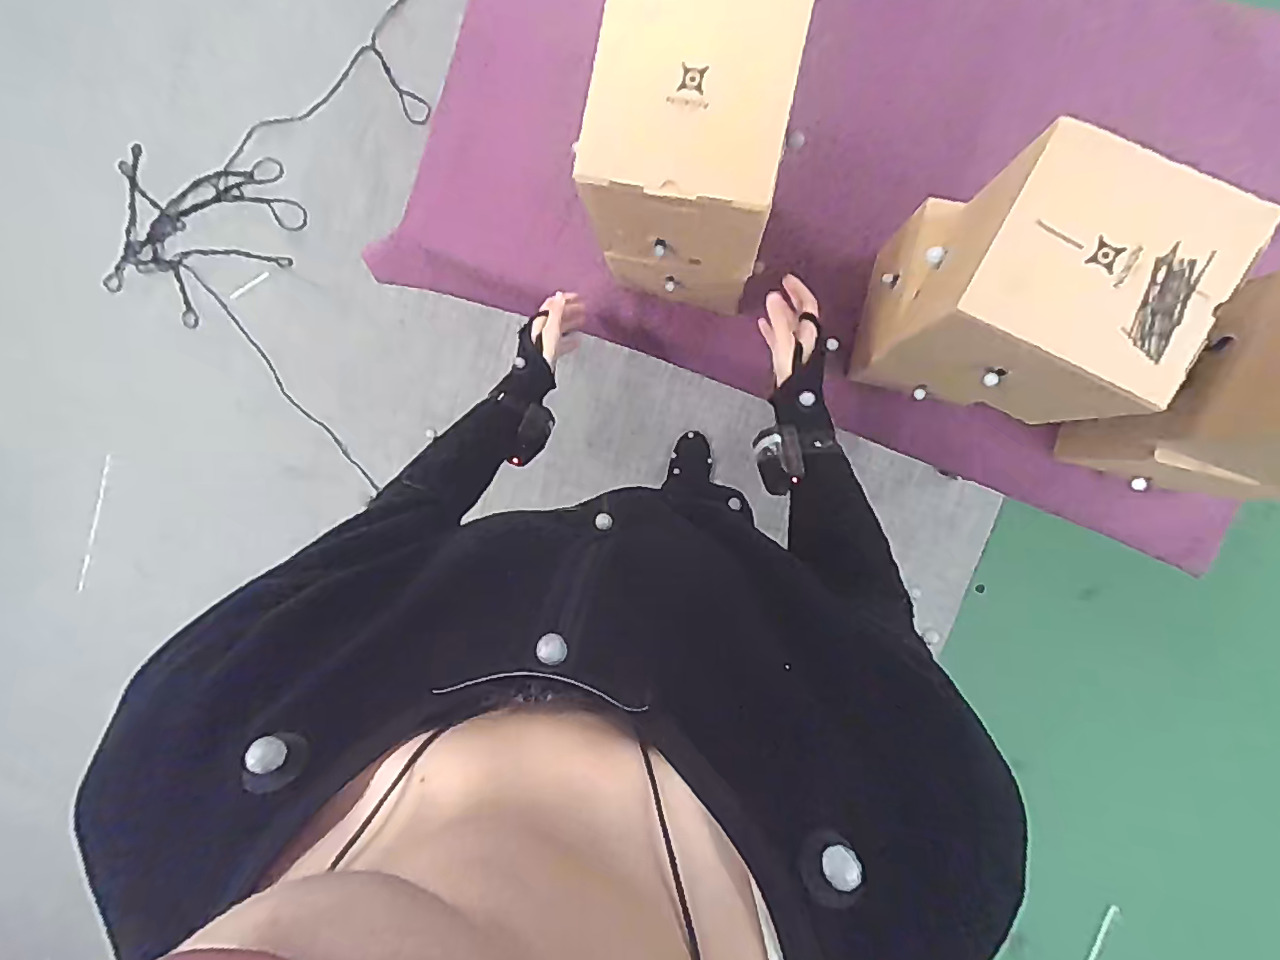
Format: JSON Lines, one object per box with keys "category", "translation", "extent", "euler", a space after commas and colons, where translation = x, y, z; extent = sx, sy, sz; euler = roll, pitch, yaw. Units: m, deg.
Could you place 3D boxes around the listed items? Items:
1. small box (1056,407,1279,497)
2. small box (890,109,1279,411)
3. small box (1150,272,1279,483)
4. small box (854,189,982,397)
{"category": "small box", "translation": [0.645, -0.085, 0.624], "extent": [0.179, 0.176, 0.168], "euler": [17, 95, 5]}
{"category": "small box", "translation": [0.365, -0.172, 0.484], "extent": [0.179, 0.176, 0.168], "euler": [28, 95, 5]}
{"category": "small box", "translation": [0.619, -0.085, 0.462], "extent": [0.179, 0.176, 0.168], "euler": [22, 96, 5]}
{"category": "small box", "translation": [0.375, -0.208, 0.647], "extent": [0.168, 0.176, 0.179], "euler": [14, 95, 6]}
